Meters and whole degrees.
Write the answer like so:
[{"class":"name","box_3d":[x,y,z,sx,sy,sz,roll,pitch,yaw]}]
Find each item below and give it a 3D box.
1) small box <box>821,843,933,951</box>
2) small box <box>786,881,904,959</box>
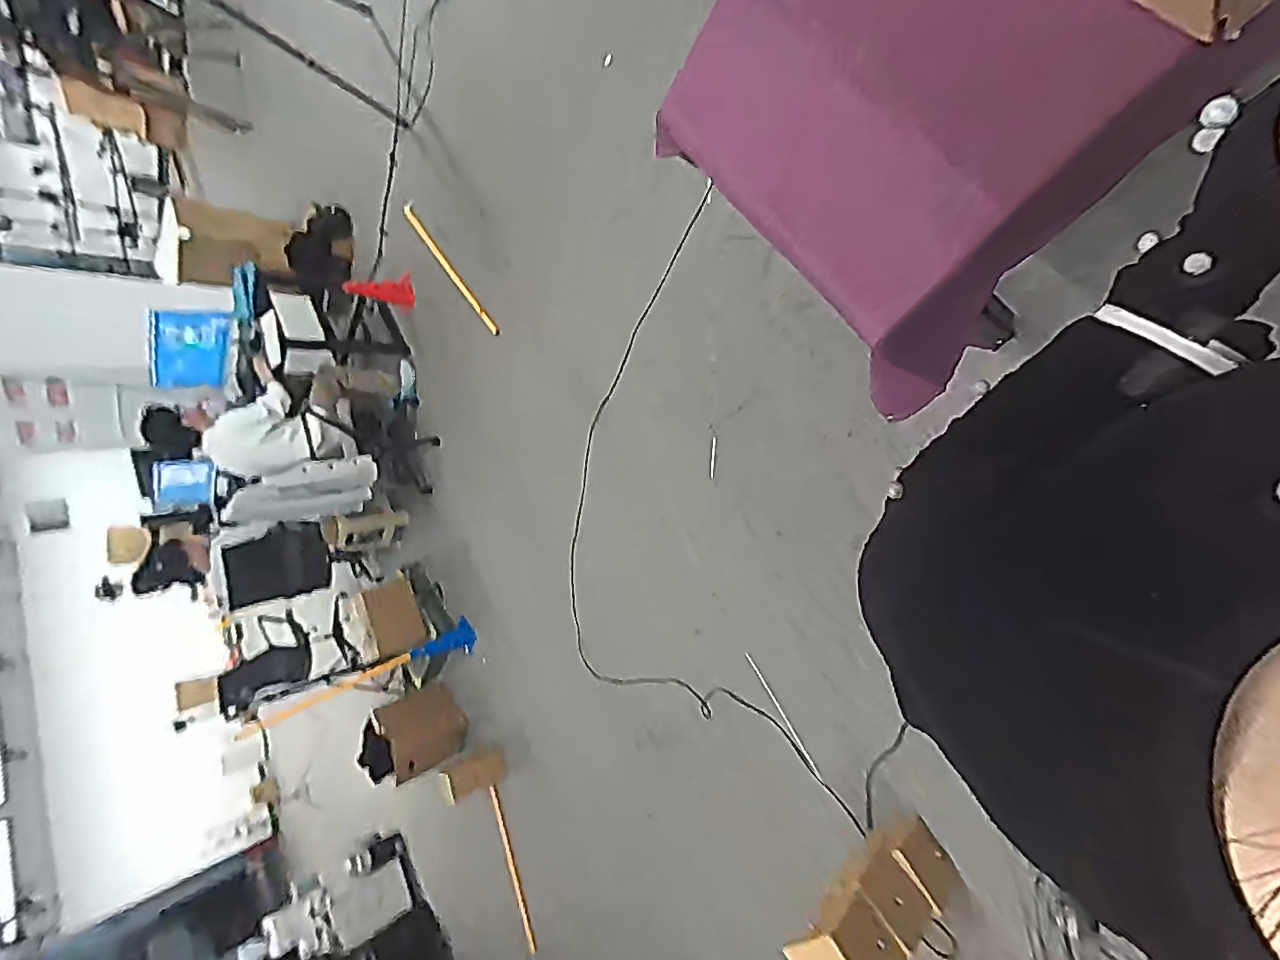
[{"class":"small box","box_3d":[0.619,1.091,1.412,0.179,0.176,0.168,50,128,26]},{"class":"small box","box_3d":[0.498,1.121,1.307,0.168,0.176,0.179,53,129,25]}]
